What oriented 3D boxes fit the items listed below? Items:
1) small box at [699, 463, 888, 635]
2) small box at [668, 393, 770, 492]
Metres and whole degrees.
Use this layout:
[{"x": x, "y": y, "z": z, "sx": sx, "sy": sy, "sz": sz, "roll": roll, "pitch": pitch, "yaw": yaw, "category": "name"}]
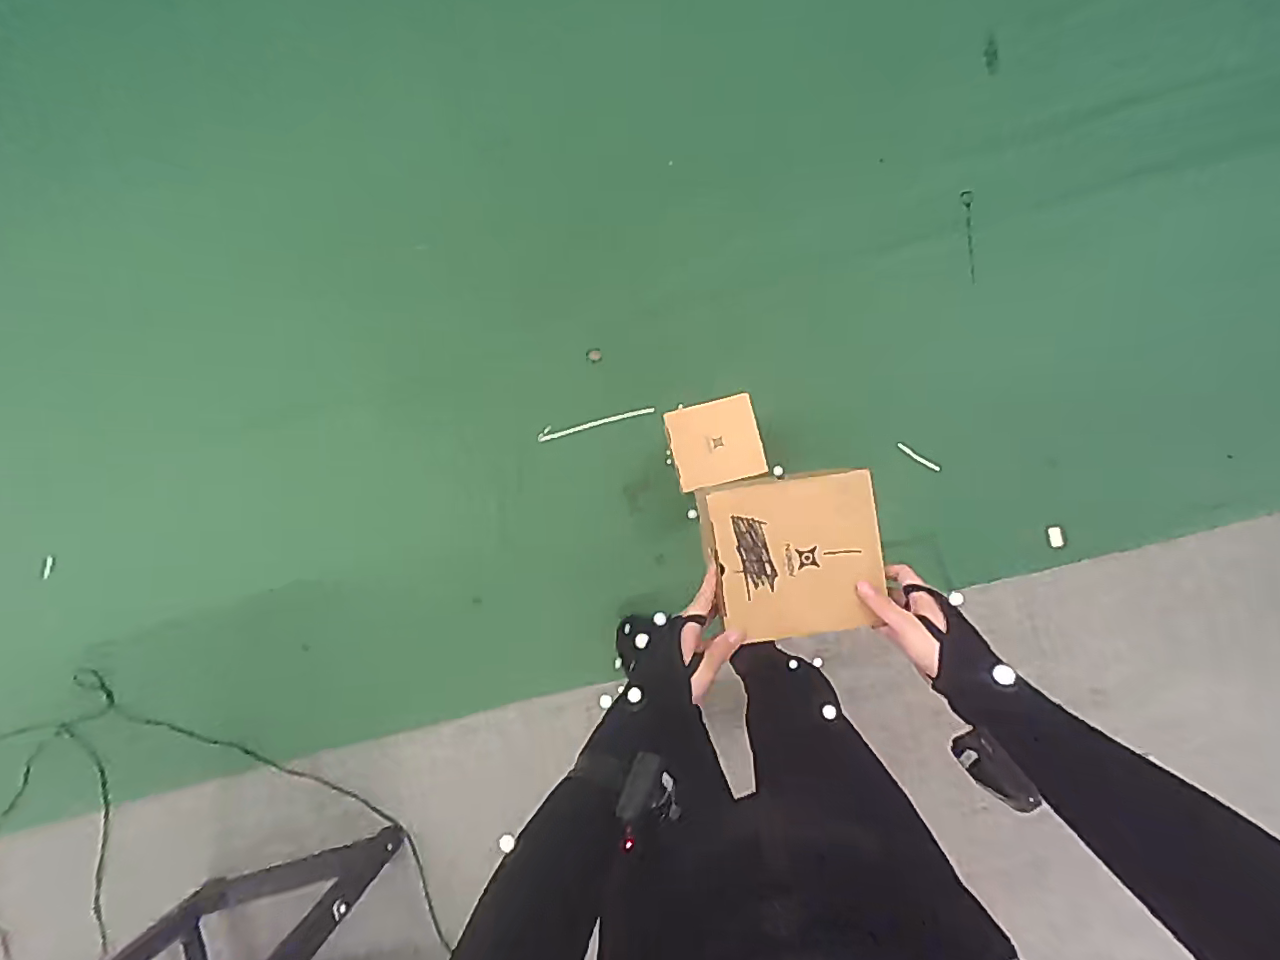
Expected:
[{"x": 0.169, "y": 0.074, "z": 0.655, "sx": 0.179, "sy": 0.176, "sz": 0.168, "roll": -8, "pitch": 91, "yaw": 1, "category": "small box"}, {"x": 0.161, "y": -0.074, "z": 1.150, "sx": 0.179, "sy": 0.176, "sz": 0.168, "roll": -14, "pitch": 87, "yaw": 4, "category": "small box"}]
